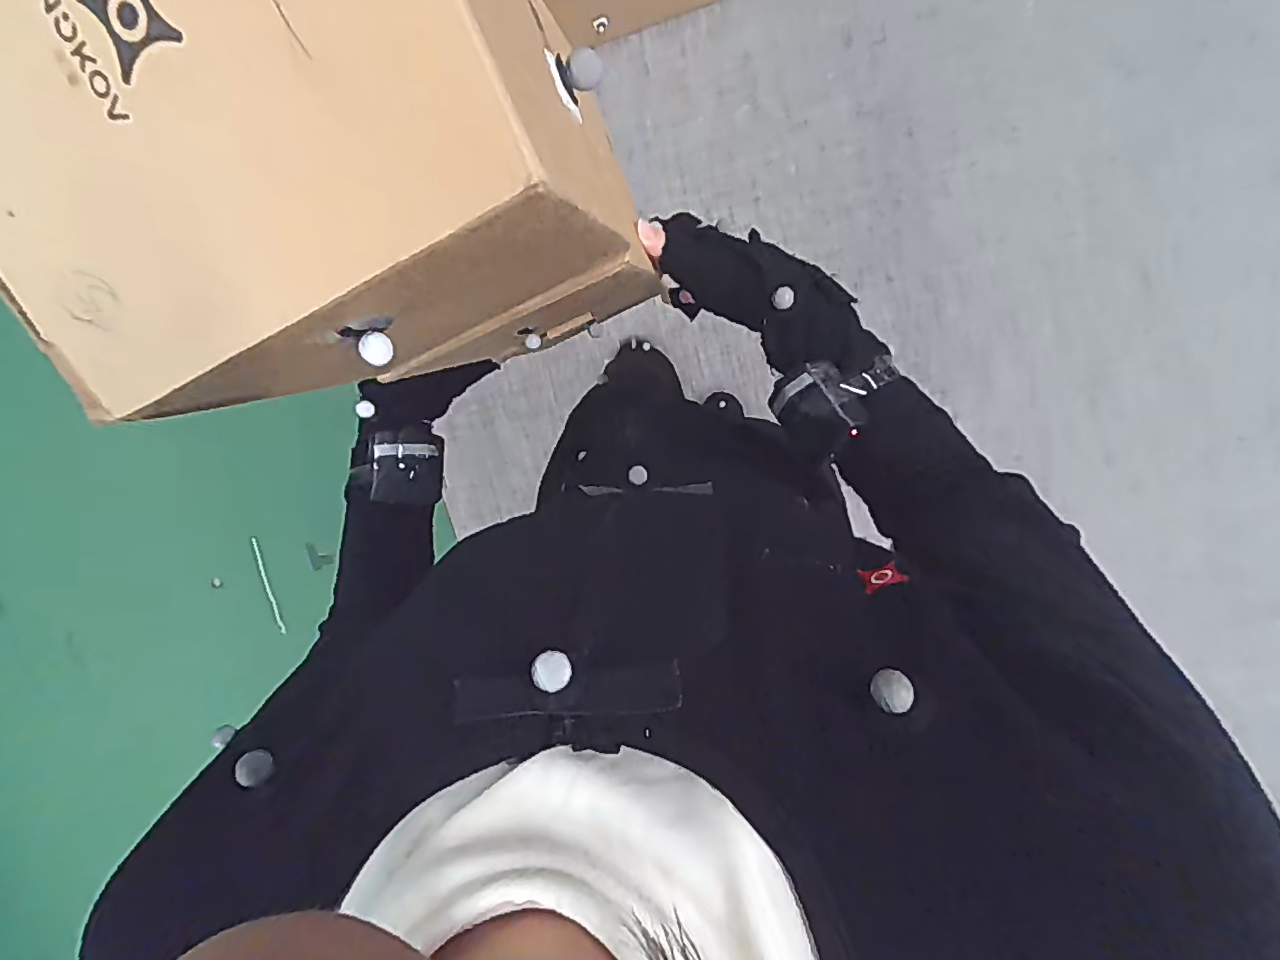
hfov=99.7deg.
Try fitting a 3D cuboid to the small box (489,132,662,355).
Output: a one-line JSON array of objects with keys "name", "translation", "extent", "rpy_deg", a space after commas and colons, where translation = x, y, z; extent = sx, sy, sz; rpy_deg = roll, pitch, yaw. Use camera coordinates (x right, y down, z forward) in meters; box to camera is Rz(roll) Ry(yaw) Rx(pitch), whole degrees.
[{"name": "small box", "translation": [-0.088, -0.245, 0.533], "extent": [0.168, 0.176, 0.179], "rpy_deg": [-22, 105, 15]}]

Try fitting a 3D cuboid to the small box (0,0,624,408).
[{"name": "small box", "translation": [-0.124, -0.148, 0.223], "extent": [0.179, 0.176, 0.168], "rpy_deg": [-22, 105, 14]}]

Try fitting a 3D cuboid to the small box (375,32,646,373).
[{"name": "small box", "translation": [-0.105, -0.192, 0.376], "extent": [0.179, 0.176, 0.168], "rpy_deg": [-20, 104, 15]}]
